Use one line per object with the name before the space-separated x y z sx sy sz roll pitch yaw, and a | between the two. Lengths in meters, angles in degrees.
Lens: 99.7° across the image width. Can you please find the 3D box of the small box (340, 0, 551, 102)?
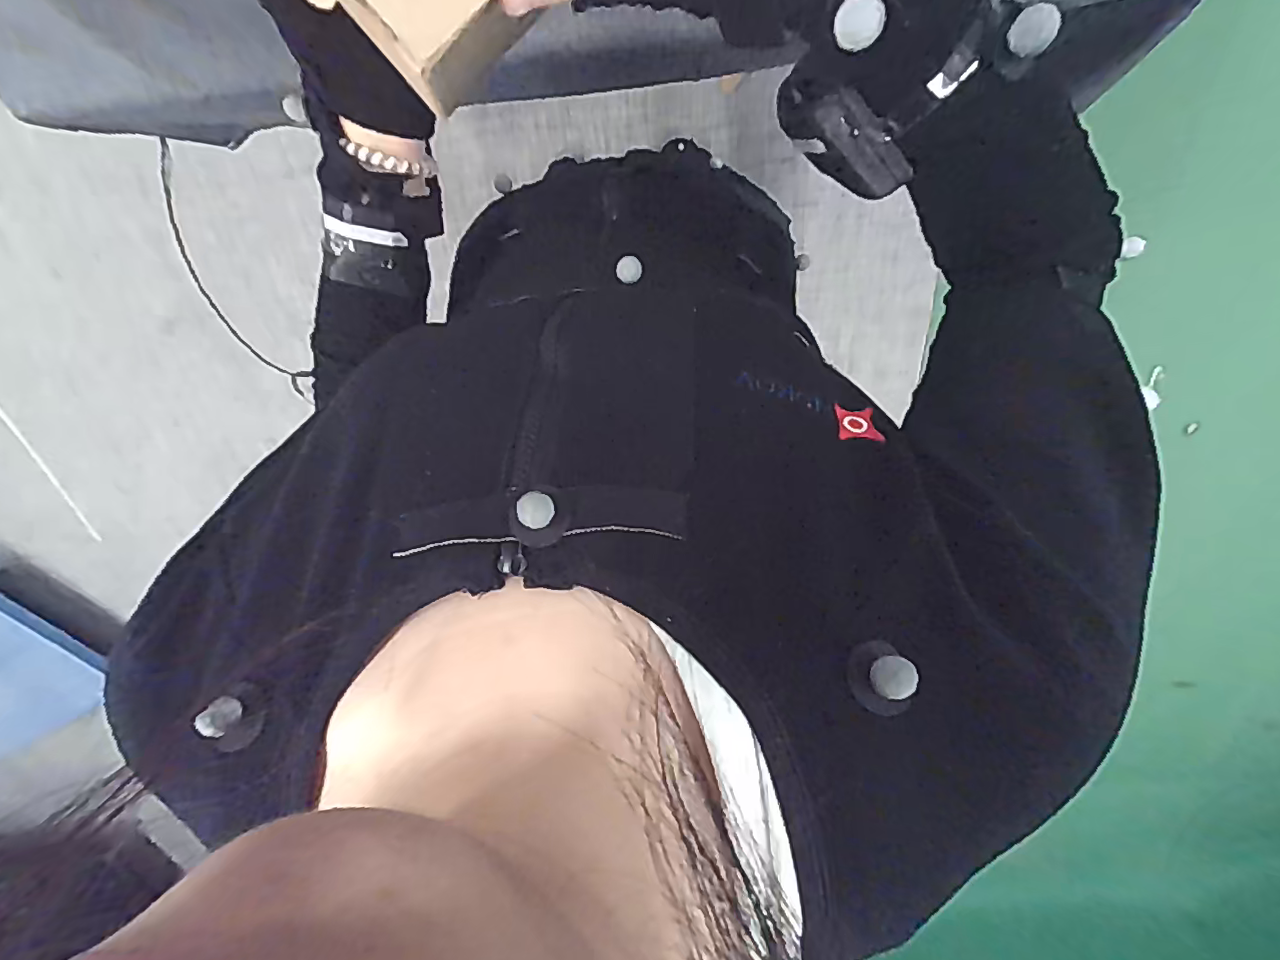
small box | -0.085 -0.284 0.204 0.179 0.176 0.168 -42 122 8
